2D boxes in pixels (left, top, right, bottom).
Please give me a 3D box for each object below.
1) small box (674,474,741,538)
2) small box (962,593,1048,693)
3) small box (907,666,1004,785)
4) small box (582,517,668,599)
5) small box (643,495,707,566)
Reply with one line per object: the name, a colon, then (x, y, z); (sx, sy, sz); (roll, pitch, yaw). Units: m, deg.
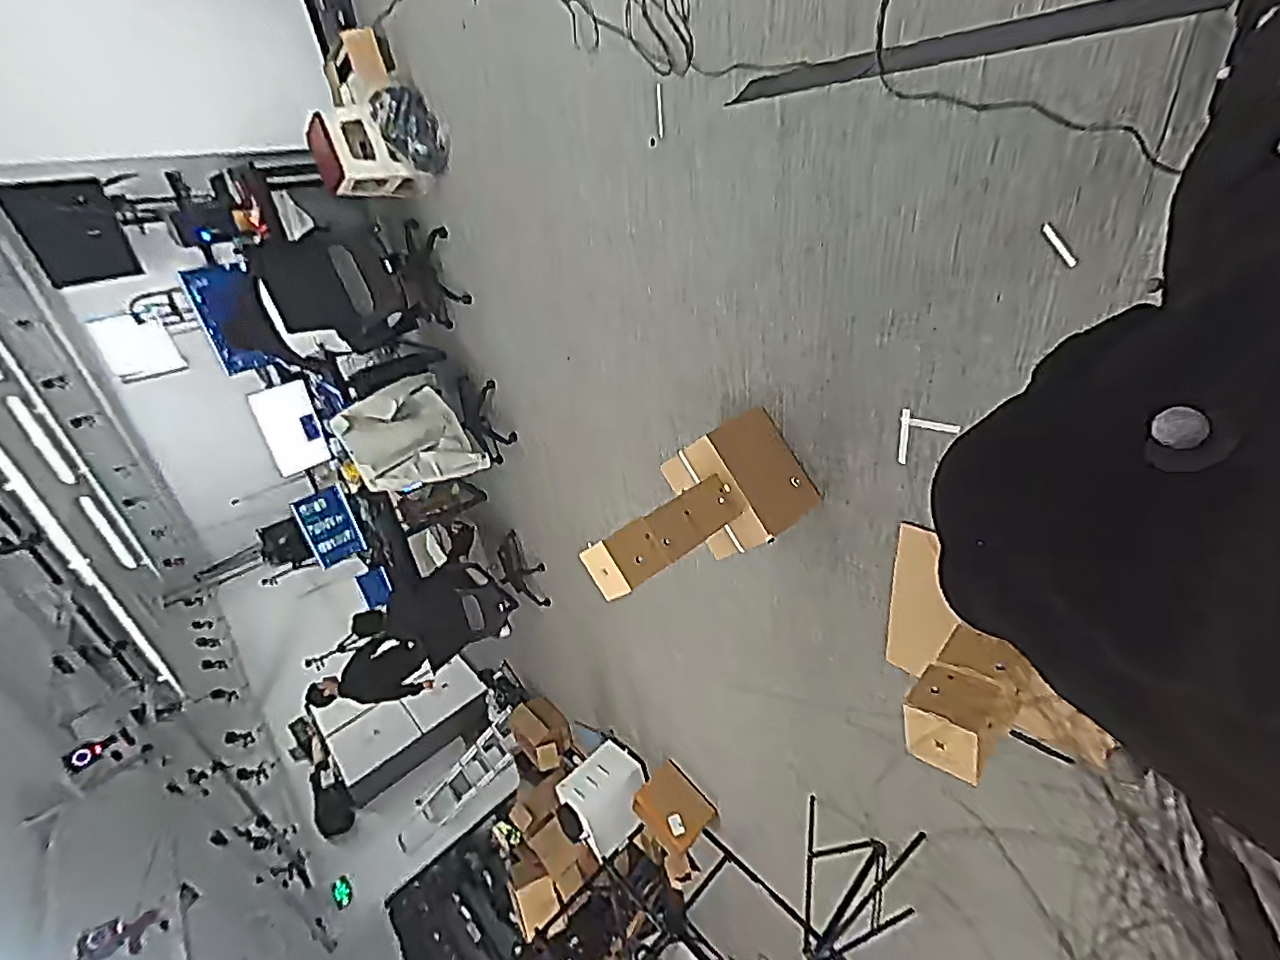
small box: (0.201, 0.103, 1.799); (0.168, 0.176, 0.179); (58, 145, 4)
small box: (1.023, 0.450, 1.516); (0.168, 0.176, 0.179); (11, 122, 46)
small box: (0.786, 0.600, 1.347); (0.168, 0.176, 0.179); (11, 124, 48)
small box: (-0.039, 0.231, 1.618); (0.168, 0.176, 0.179); (58, 146, 5)
small box: (0.080, 0.170, 1.711); (0.168, 0.176, 0.179); (58, 147, 4)
